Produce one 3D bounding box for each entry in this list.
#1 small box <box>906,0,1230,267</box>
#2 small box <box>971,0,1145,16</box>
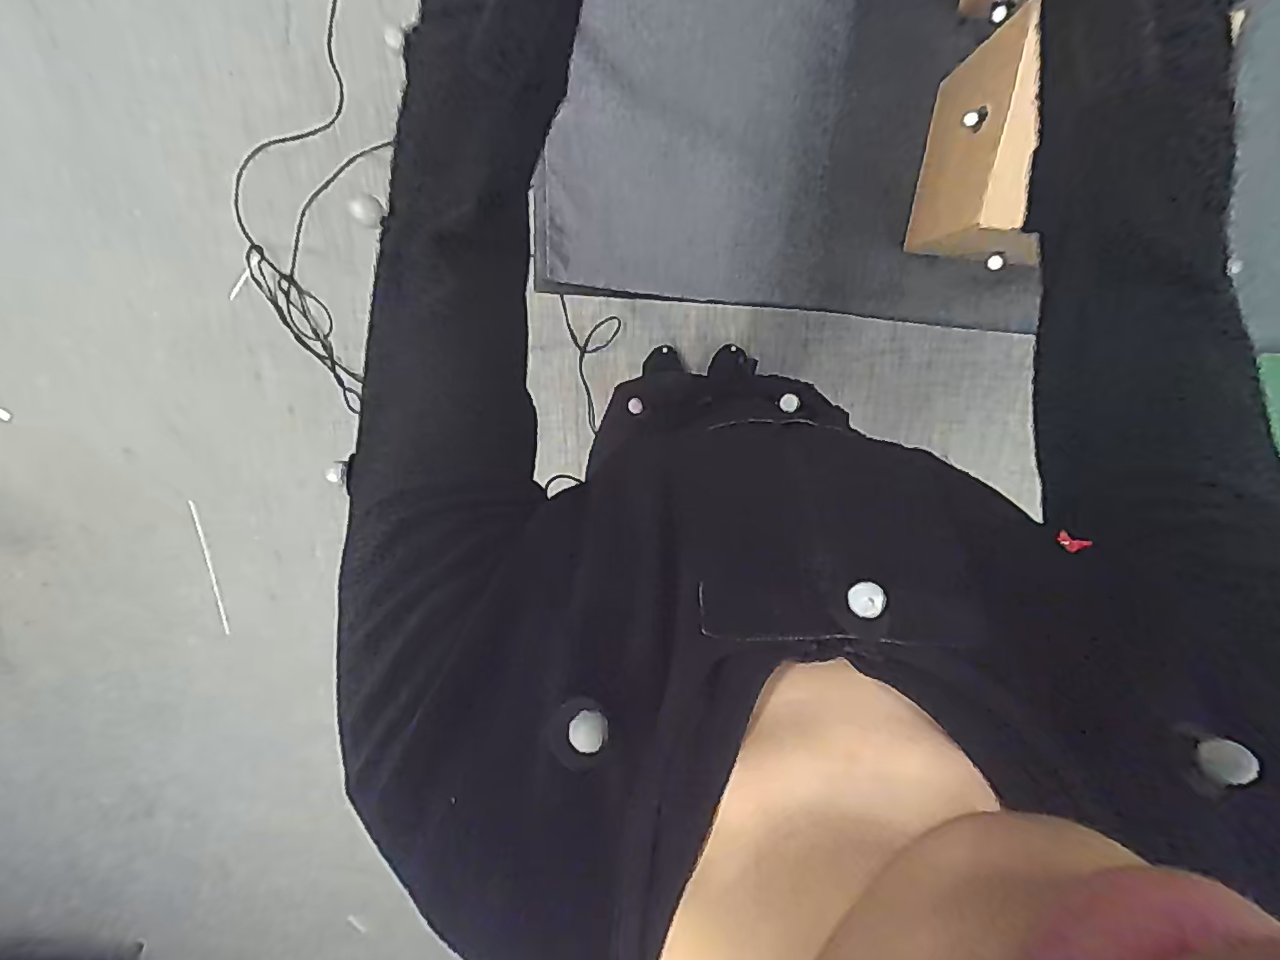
[{"bbox_3d":[0.392,-0.321,0.537,0.168,0.176,0.179,7,106,2],"label":"small box"},{"bbox_3d":[0.417,-0.538,0.471,0.168,0.176,0.179,7,107,2],"label":"small box"}]
